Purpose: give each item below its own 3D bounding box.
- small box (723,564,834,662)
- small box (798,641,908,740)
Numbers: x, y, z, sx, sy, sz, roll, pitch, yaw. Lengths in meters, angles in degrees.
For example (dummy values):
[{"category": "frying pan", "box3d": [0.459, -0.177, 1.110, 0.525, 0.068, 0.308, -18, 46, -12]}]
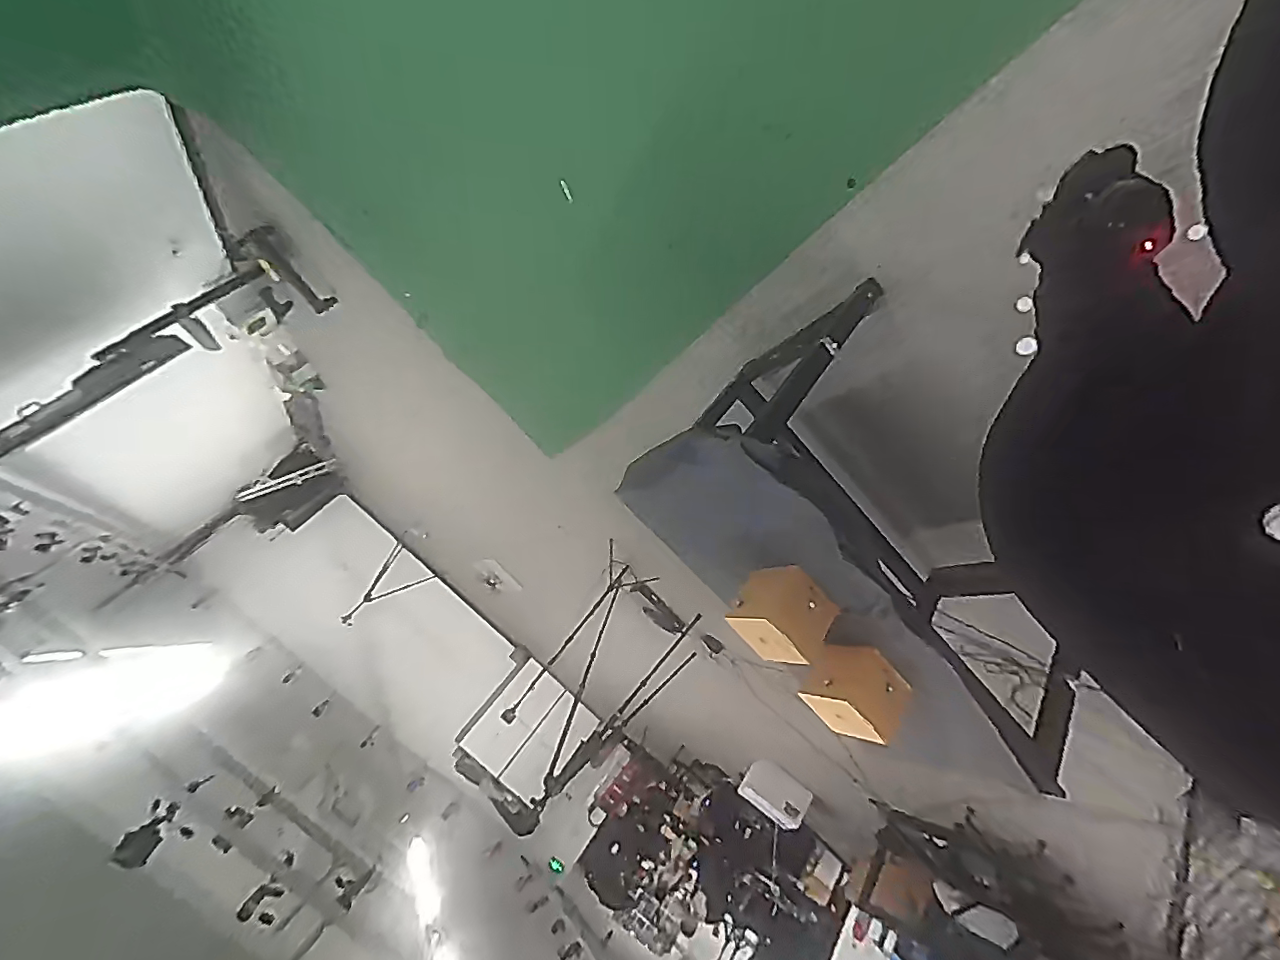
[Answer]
[{"category": "small box", "box3d": [0.349, 0.329, 1.357, 0.168, 0.176, 0.179, 46, 151, -11]}, {"category": "small box", "box3d": [0.556, 0.537, 1.409, 0.168, 0.176, 0.179, 46, 151, -10]}]
